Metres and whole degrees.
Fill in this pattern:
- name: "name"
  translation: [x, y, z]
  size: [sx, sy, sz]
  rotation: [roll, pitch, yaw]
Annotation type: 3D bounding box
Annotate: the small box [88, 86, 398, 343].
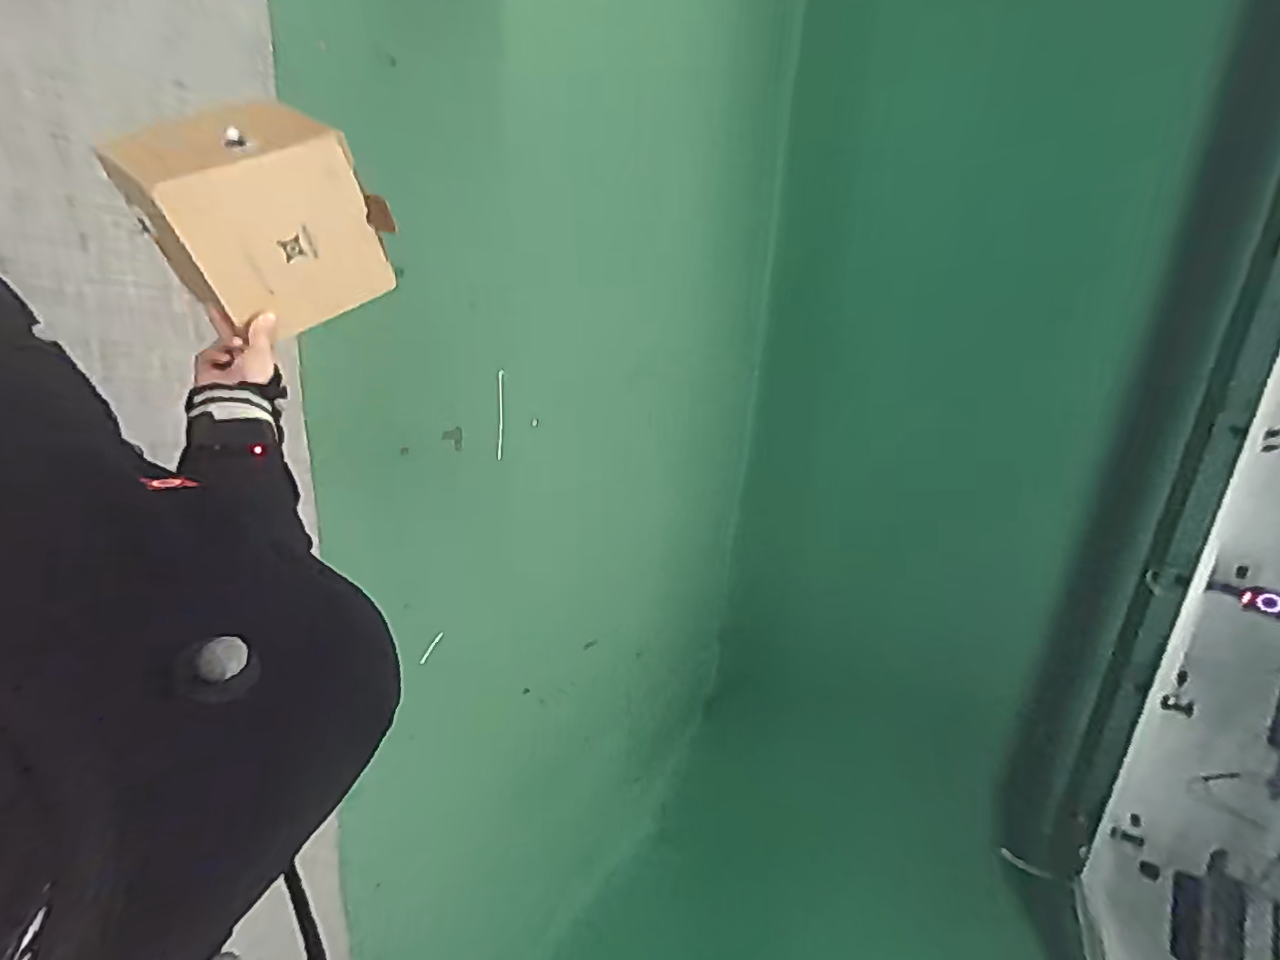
- name: "small box"
  translation: [-0.398, -0.282, 0.563]
  size: [0.179, 0.176, 0.168]
  rotation: [-41, 152, -28]
